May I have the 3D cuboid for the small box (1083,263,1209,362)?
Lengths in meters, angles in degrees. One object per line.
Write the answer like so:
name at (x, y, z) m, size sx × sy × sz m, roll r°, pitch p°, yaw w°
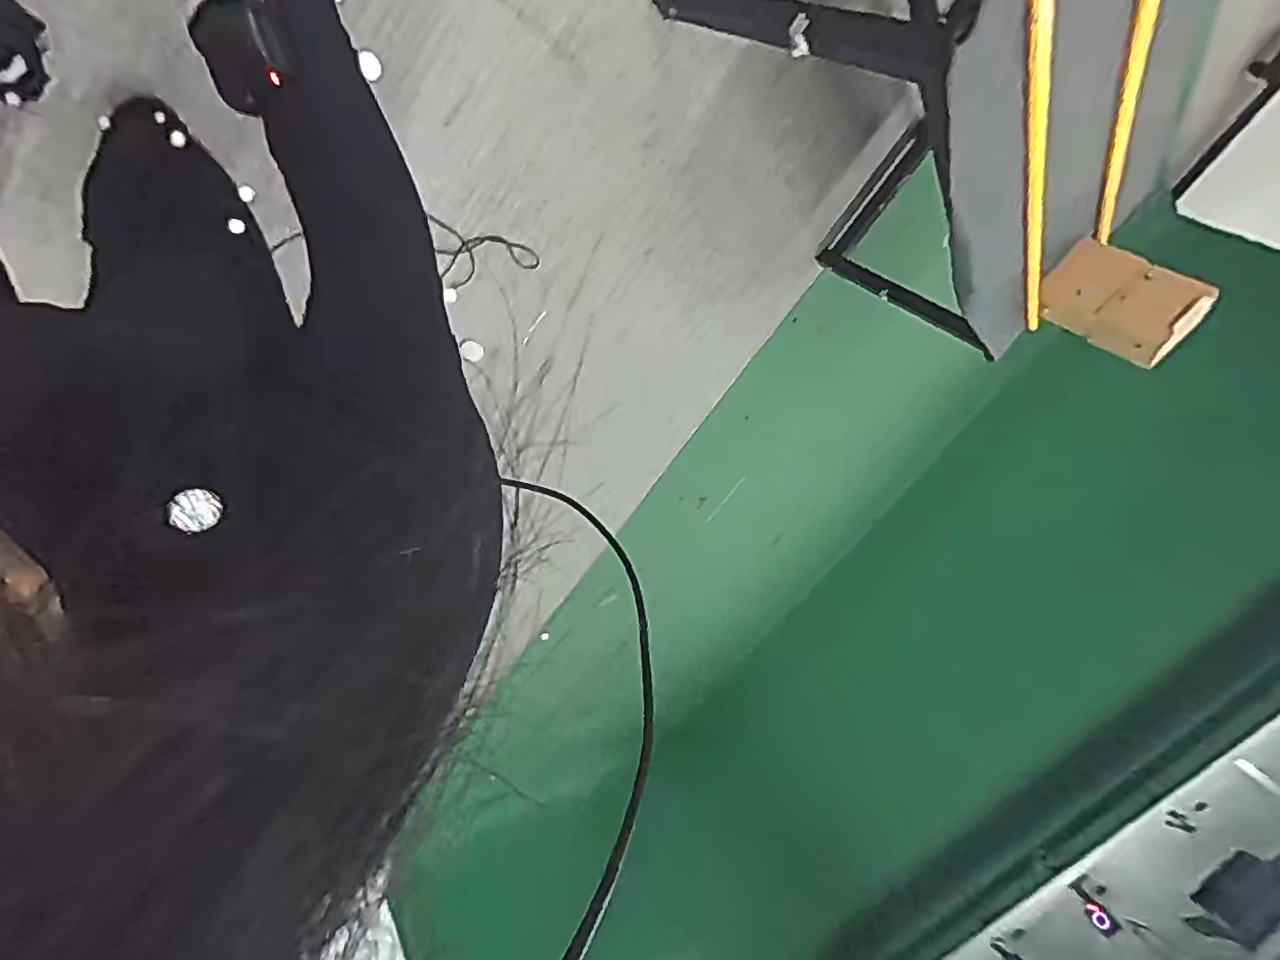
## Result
small box at (1.339, -0.452, 1.449) m, size 0.168 × 0.176 × 0.179 m, roll -50°, pitch 147°, yaw 11°
